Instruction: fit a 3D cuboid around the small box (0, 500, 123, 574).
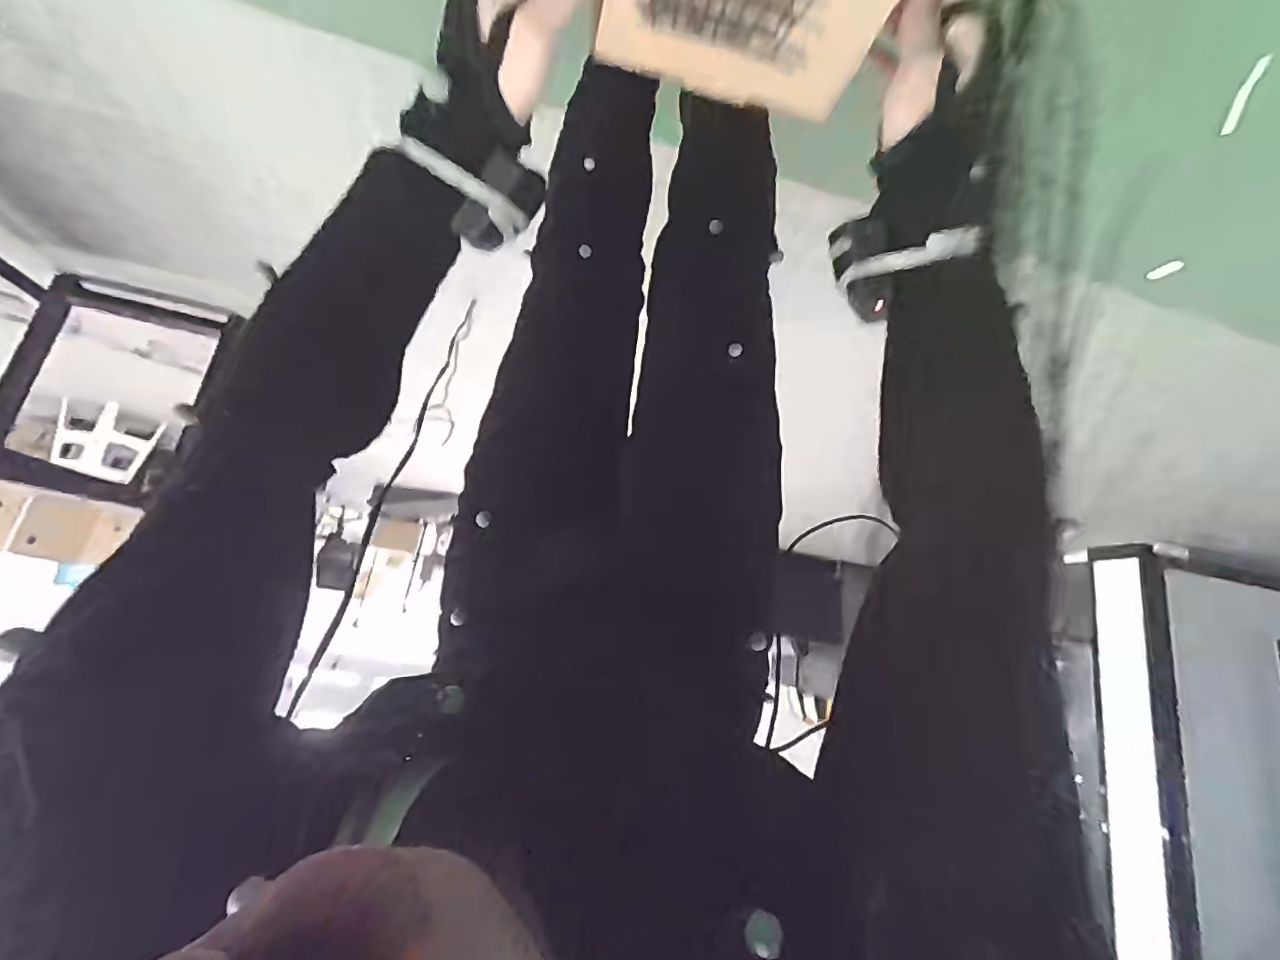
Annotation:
[{"bbox_3d":[-1.633,0.161,1.524,0.179,0.176,0.168,12,164,-10],"label":"small box"}]
